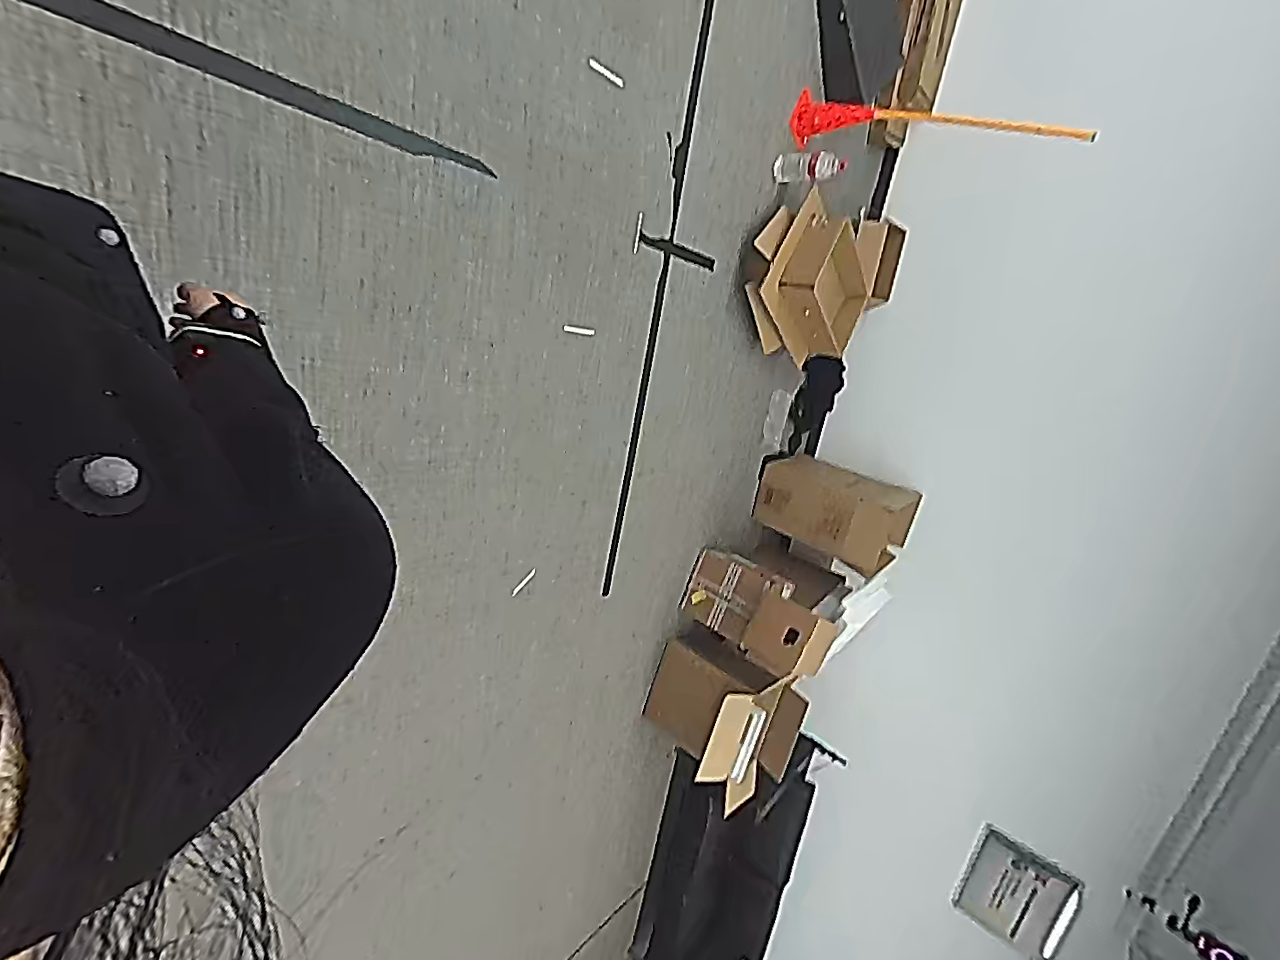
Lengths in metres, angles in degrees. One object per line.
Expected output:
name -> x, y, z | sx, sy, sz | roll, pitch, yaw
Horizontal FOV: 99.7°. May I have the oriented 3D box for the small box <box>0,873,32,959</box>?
small box -> -0.985, 0.705, 0.759 | 0.168, 0.176, 0.179 | -2, 109, -50
